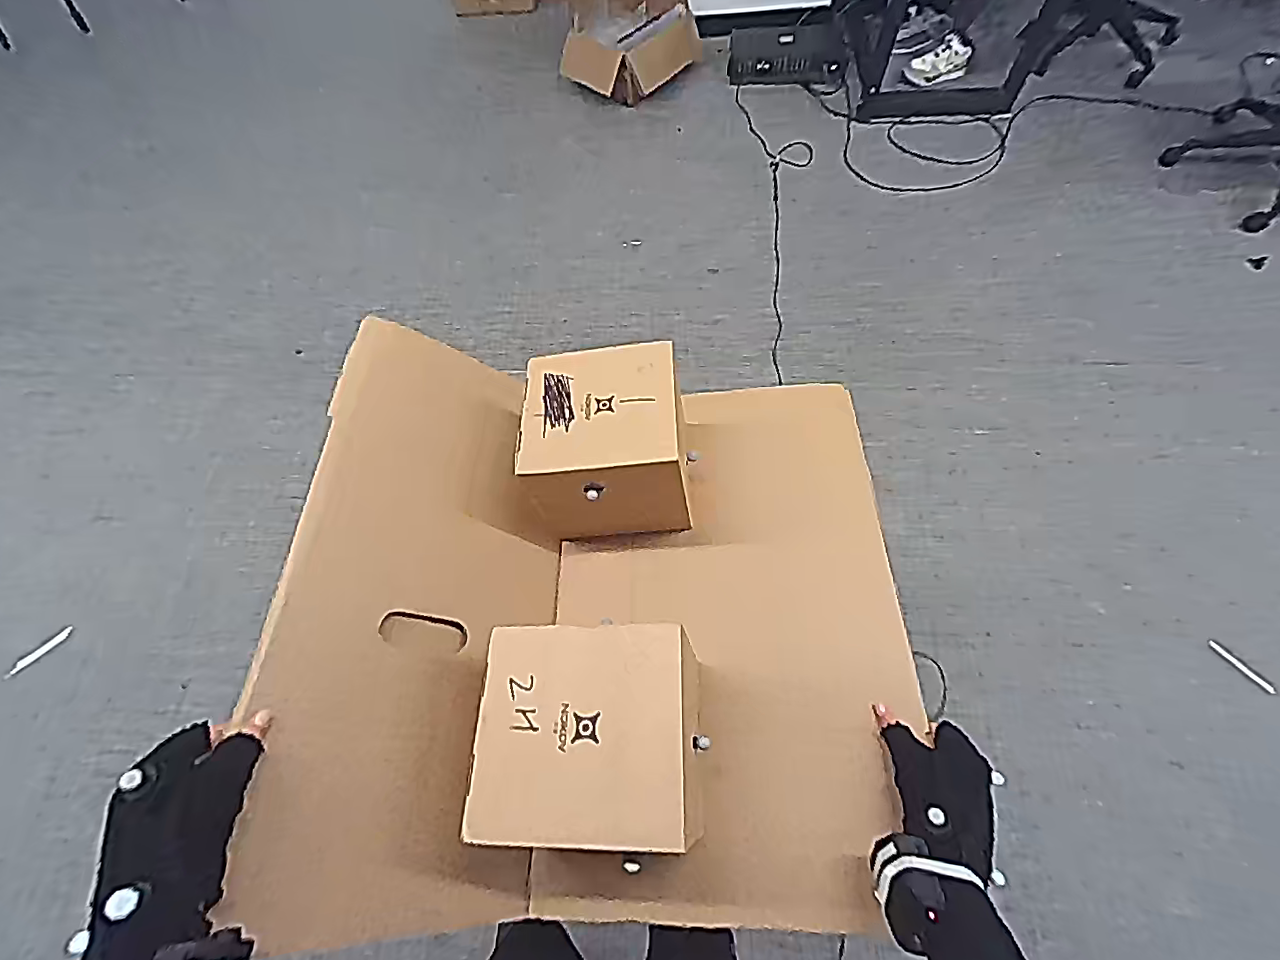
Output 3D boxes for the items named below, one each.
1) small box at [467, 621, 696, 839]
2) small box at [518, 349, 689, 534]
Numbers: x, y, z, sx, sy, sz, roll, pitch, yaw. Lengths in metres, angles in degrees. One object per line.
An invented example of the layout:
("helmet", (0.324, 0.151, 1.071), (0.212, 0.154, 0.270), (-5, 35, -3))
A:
("small box", (-0.037, 0.239, 0.525), (0.179, 0.176, 0.168), (-4, 60, 10))
("small box", (-0.035, -0.039, 0.684), (0.179, 0.176, 0.168), (-5, 60, 8))
